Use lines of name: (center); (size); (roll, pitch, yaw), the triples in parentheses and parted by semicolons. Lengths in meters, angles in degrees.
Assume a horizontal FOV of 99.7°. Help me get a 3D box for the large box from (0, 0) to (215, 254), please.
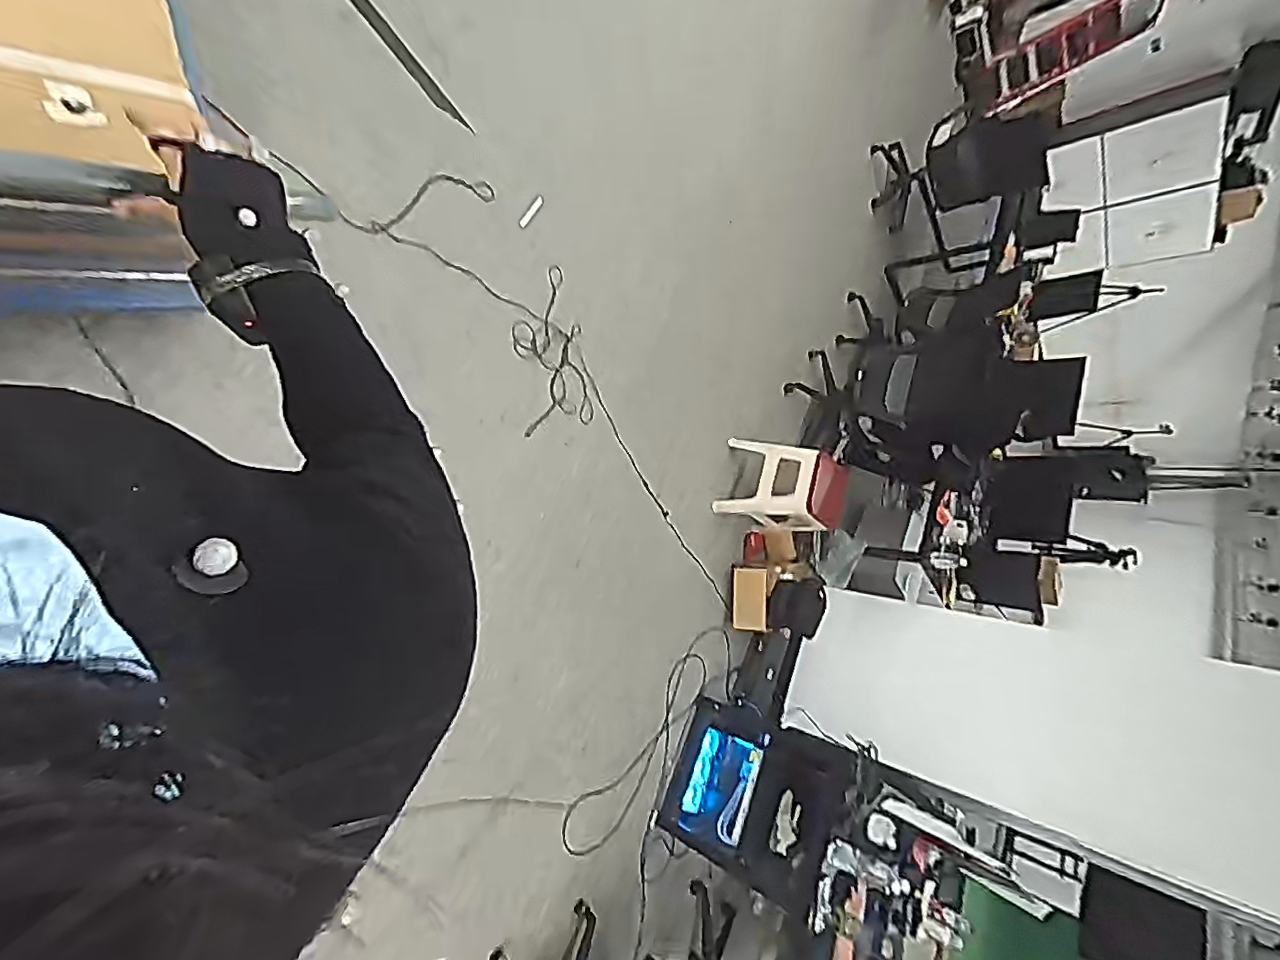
large box: (-0.922, -0.528, 0.771); (0.408, 0.320, 0.320); (-19, 106, -46)
